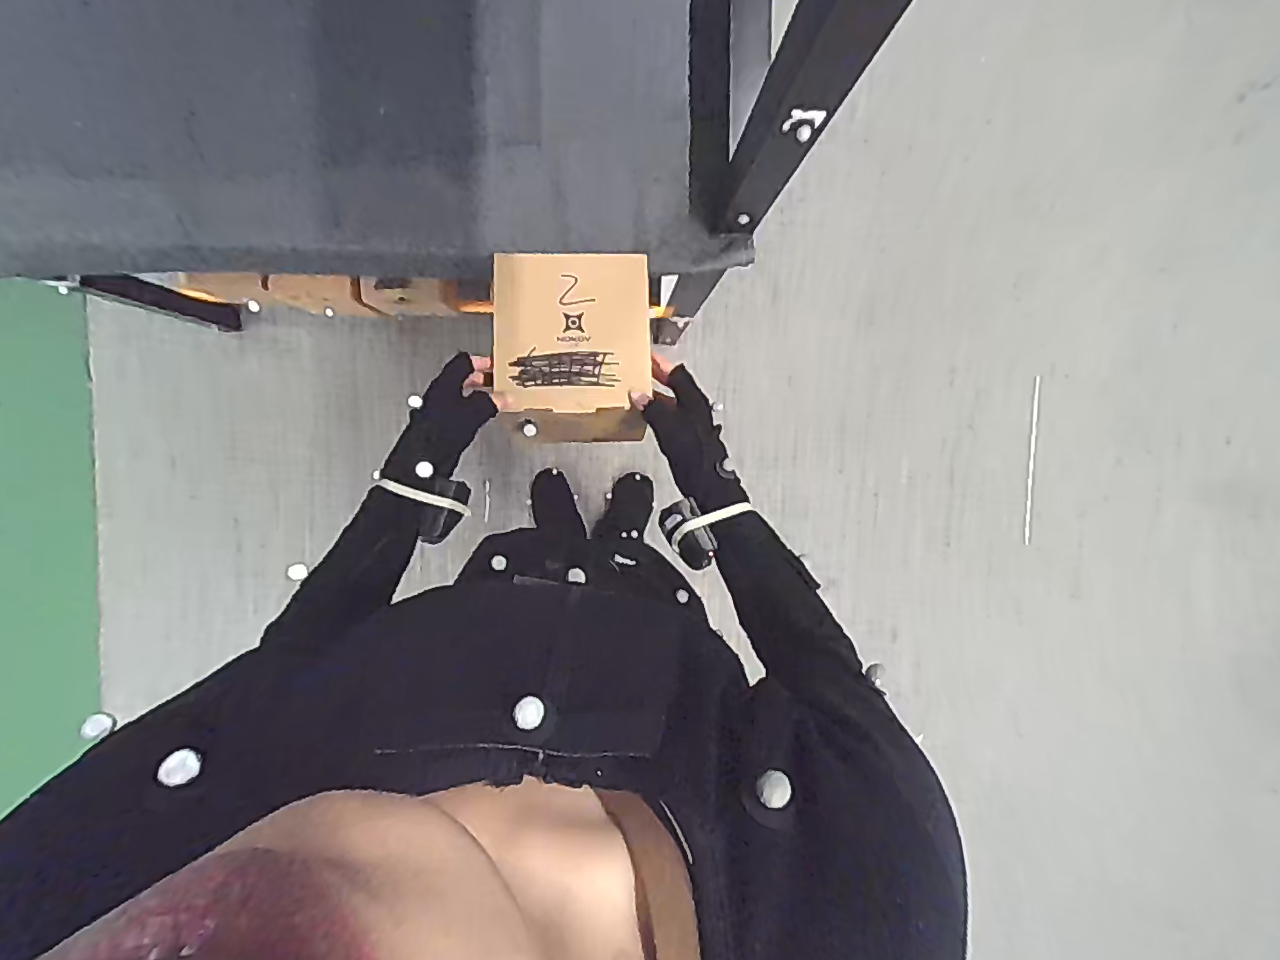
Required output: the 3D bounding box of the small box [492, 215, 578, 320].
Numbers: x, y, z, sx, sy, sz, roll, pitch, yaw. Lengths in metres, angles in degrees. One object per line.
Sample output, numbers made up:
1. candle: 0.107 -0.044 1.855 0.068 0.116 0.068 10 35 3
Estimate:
1. small box: -0.236 -0.481 1.246 0.168 0.176 0.179 6 96 -3
